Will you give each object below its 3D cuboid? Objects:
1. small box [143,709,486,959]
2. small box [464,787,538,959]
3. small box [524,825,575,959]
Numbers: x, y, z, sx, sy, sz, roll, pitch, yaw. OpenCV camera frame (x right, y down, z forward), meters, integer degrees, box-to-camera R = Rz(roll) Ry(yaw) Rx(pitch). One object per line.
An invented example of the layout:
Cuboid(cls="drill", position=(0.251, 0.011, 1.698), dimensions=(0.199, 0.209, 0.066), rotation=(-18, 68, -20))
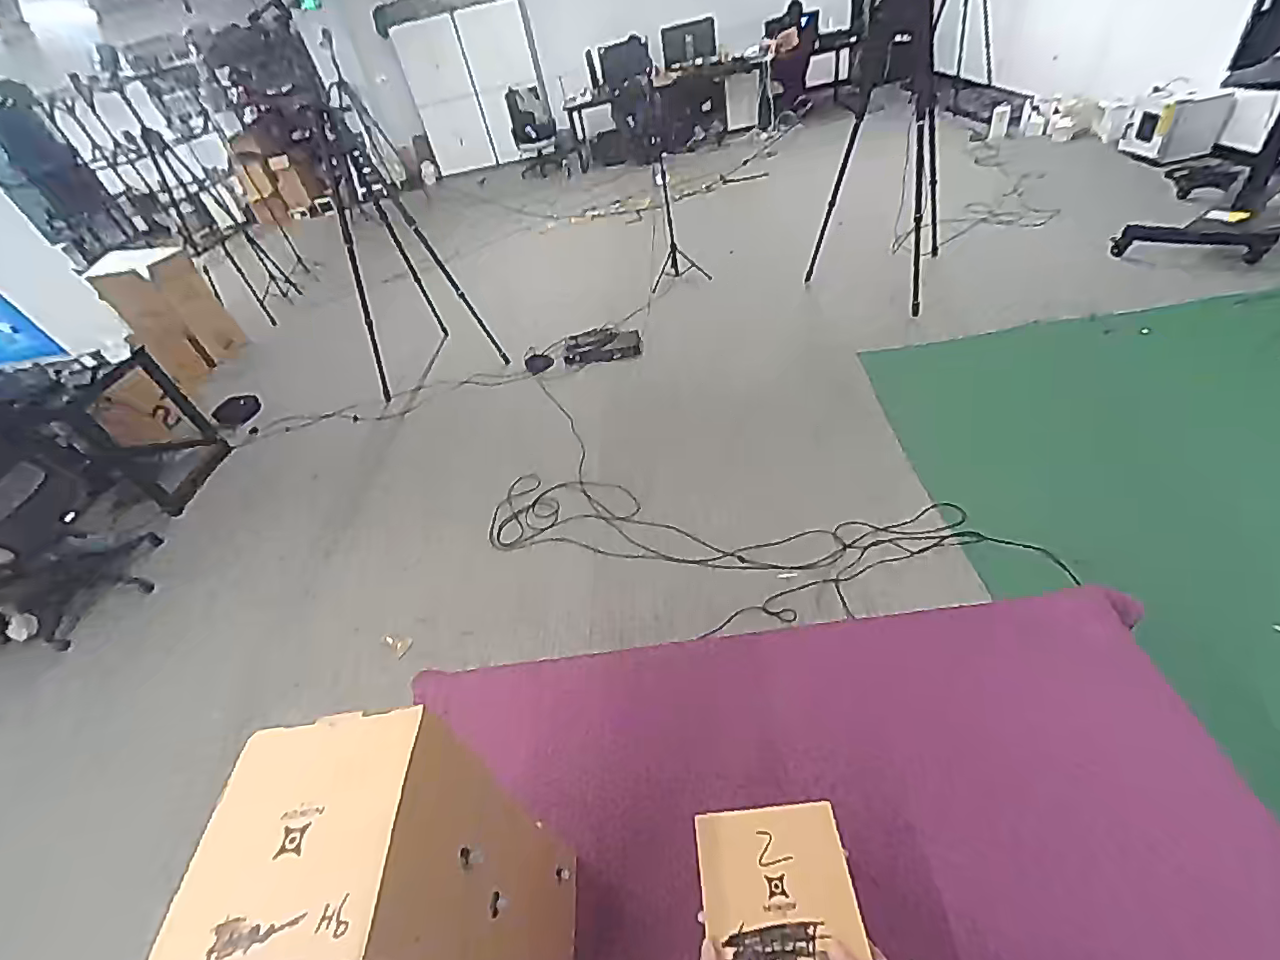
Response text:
Cuboid(cls="small box", position=(-0.248, 0.331, 0.469), dimensions=(0.168, 0.176, 0.179), rotation=(-11, 40, 5))
Cuboid(cls="small box", position=(-0.216, 0.456, 0.571), dimensions=(0.168, 0.176, 0.179), rotation=(-11, 40, 5))
Cuboid(cls="small box", position=(-0.184, 0.569, 0.685), dimensions=(0.168, 0.176, 0.179), rotation=(-11, 42, 5))
